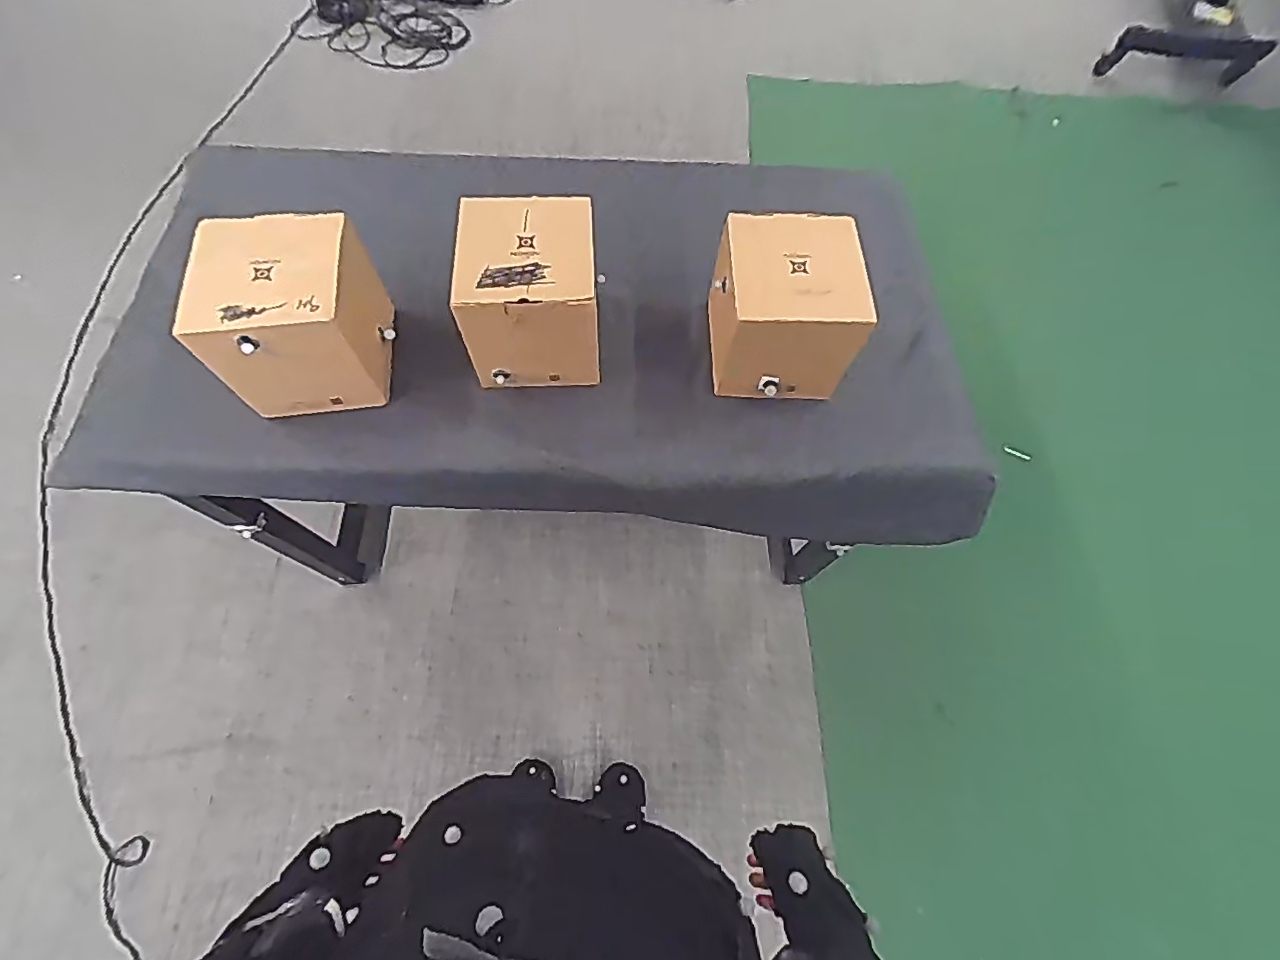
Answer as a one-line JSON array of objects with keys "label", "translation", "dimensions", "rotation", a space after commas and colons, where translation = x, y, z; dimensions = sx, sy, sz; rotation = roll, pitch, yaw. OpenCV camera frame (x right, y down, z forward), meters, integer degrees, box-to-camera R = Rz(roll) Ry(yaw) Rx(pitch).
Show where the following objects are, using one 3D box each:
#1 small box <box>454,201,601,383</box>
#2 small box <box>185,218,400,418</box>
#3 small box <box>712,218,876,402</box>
[{"label": "small box", "translation": [-0.138, -0.243, 0.728], "dimensions": [0.168, 0.176, 0.179], "rotation": [-2, 65, -4]}, {"label": "small box", "translation": [-0.424, -0.203, 0.696], "dimensions": [0.168, 0.176, 0.179], "rotation": [-8, 64, -5]}, {"label": "small box", "translation": [0.193, -0.225, 0.736], "dimensions": [0.168, 0.176, 0.179], "rotation": [0, 66, -1]}]
